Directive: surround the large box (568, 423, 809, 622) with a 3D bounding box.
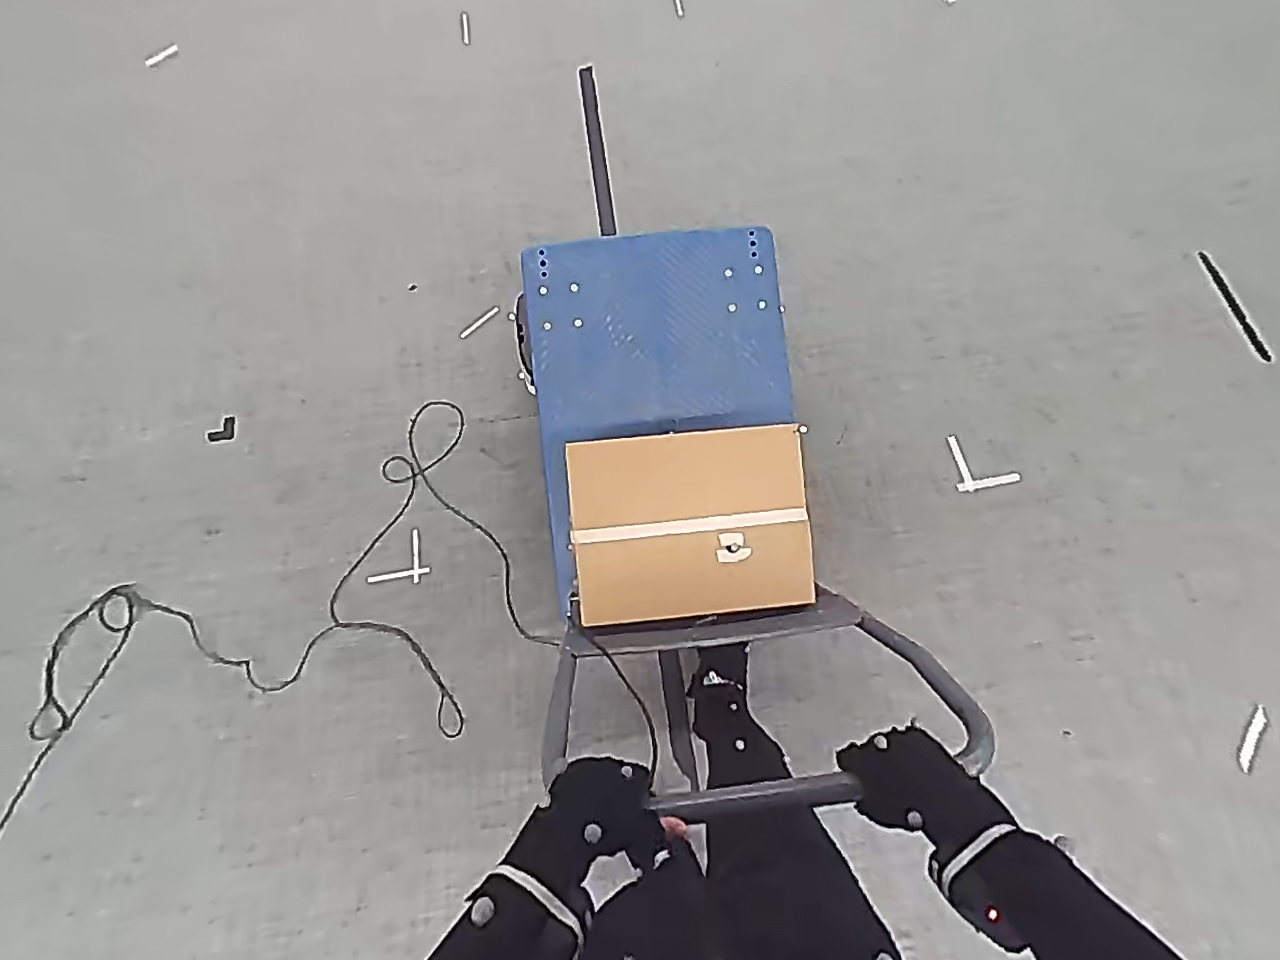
[{"bbox_3d":[0.077,0.075,1.093,0.408,0.320,0.320,-6,91,-4],"label":"large box"}]
